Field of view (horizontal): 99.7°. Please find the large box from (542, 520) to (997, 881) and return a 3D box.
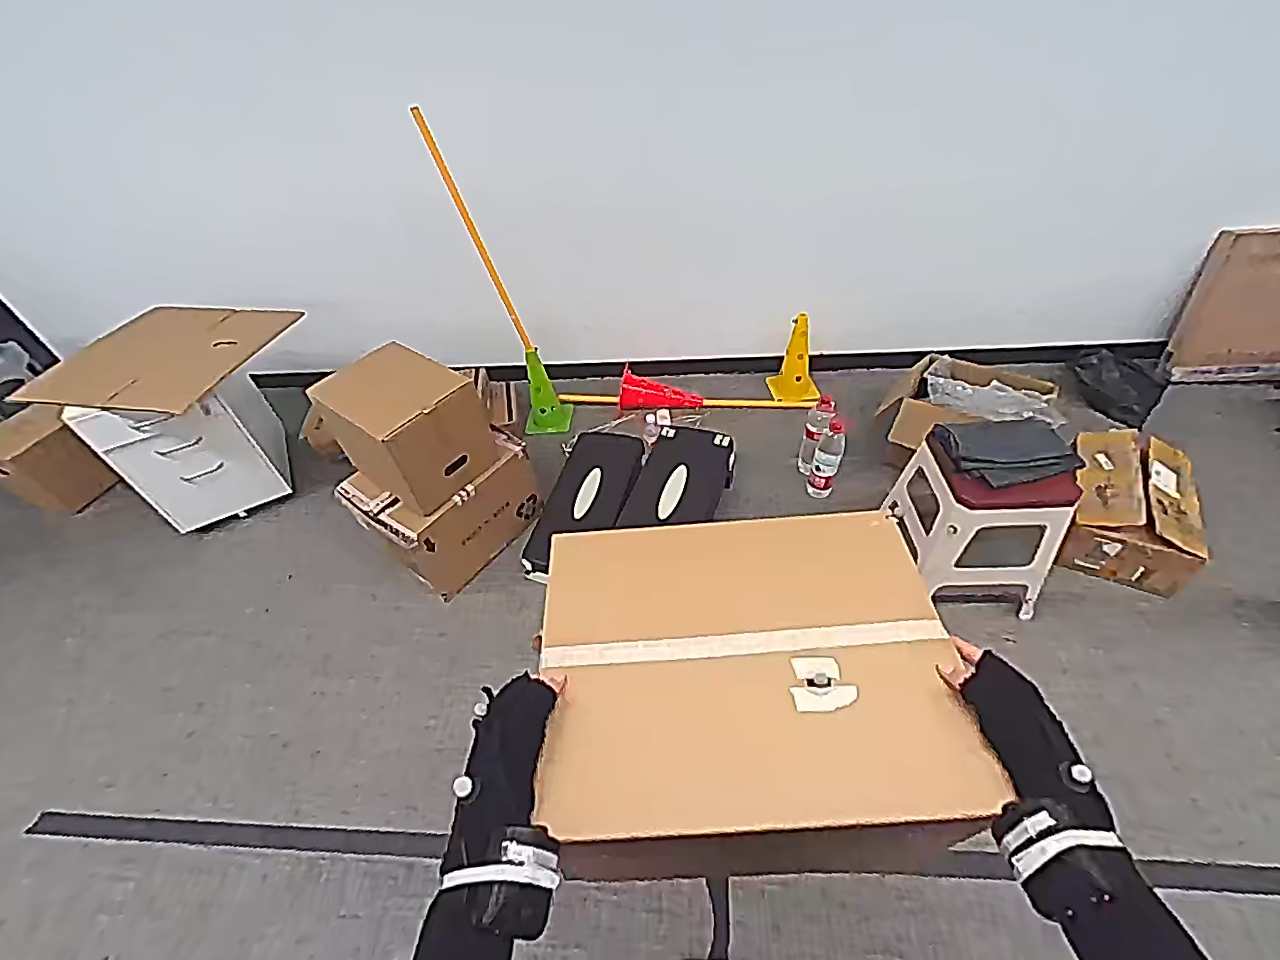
[{"bbox_3d":[0.112,0.278,0.672,0.408,0.320,0.320,-4,49,1],"label":"large box"}]
